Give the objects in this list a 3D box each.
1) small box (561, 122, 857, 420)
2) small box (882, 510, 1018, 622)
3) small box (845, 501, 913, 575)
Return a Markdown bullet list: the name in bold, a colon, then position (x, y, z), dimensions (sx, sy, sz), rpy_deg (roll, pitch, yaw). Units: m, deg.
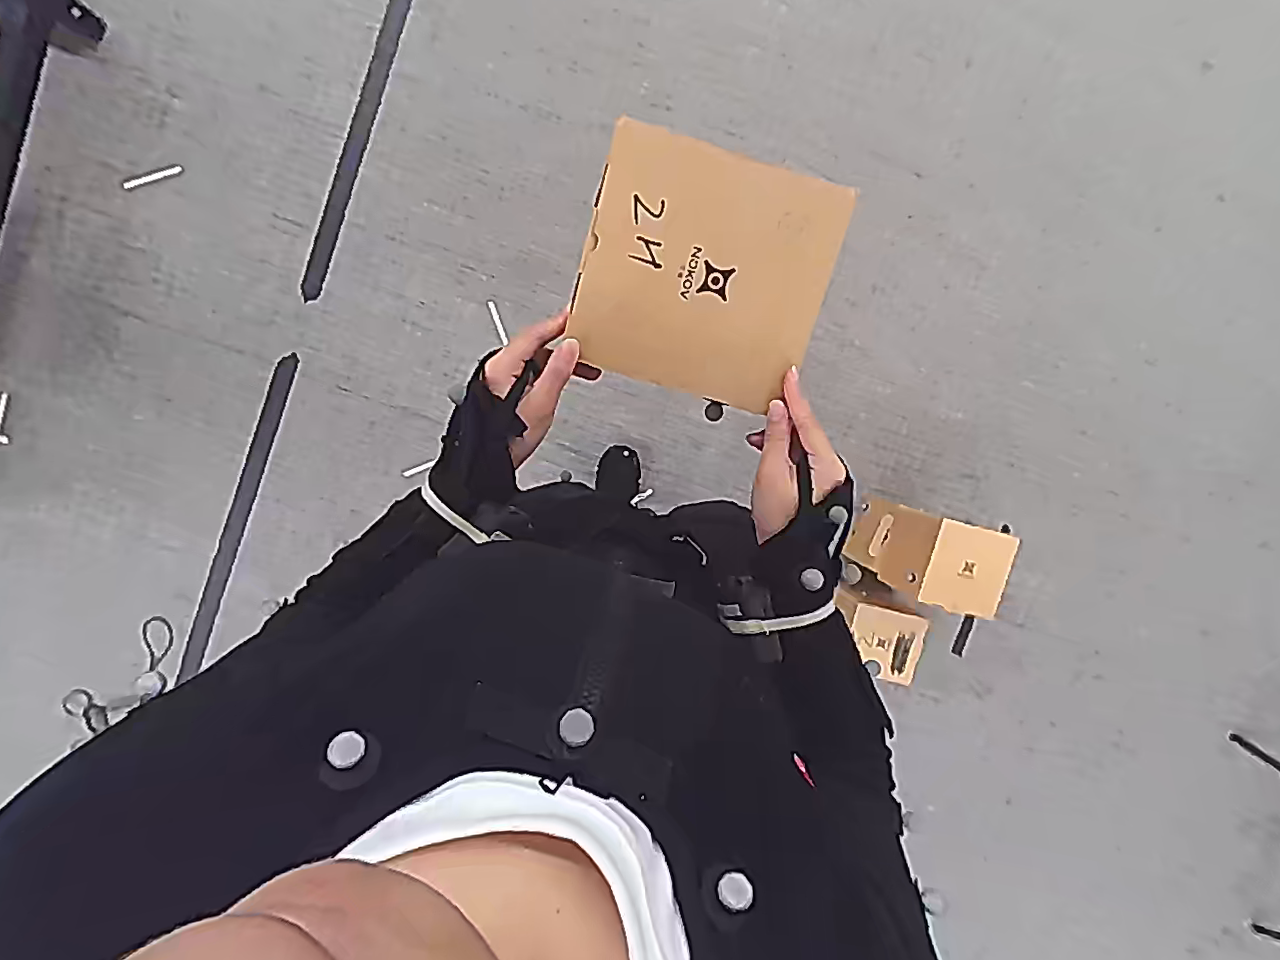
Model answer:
- **small box**: position (0.046, -0.161, 0.462), dimensions (0.179, 0.176, 0.168), rpy_deg (15, 102, -3)
- **small box**: position (0.643, 0.173, 1.146), dimensions (0.168, 0.176, 0.179), rpy_deg (15, 96, -3)
- **small box**: position (0.629, 0.157, 1.308), dimensions (0.179, 0.176, 0.168), rpy_deg (22, 95, -4)
